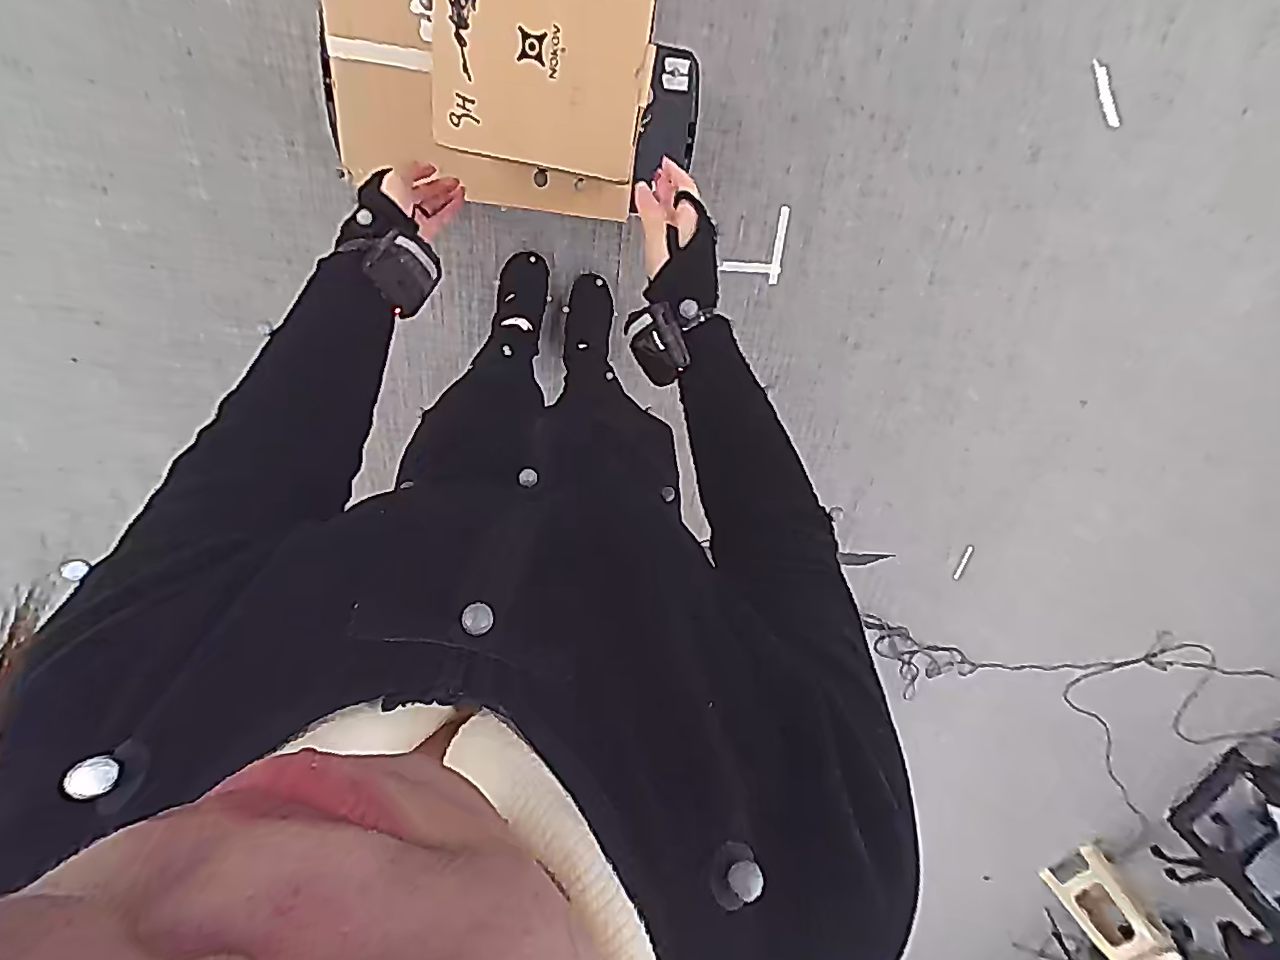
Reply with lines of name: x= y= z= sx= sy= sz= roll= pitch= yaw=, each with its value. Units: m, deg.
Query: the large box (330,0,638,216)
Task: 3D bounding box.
large box: x=-0.200 y=-0.609 z=0.836 sx=0.408 sy=0.320 sz=0.320 roll=4 pitch=117 yaw=-7

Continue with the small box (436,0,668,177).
small box: x=-0.080 y=-0.392 z=0.501 sx=0.179 sy=0.176 sz=0.168 roll=7 pitch=117 yaw=-11

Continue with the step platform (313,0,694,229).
step platform: x=-0.241 y=-0.711 z=1.049 sx=0.684 sy=0.204 sz=0.286 roll=9 pitch=117 yaw=-10
